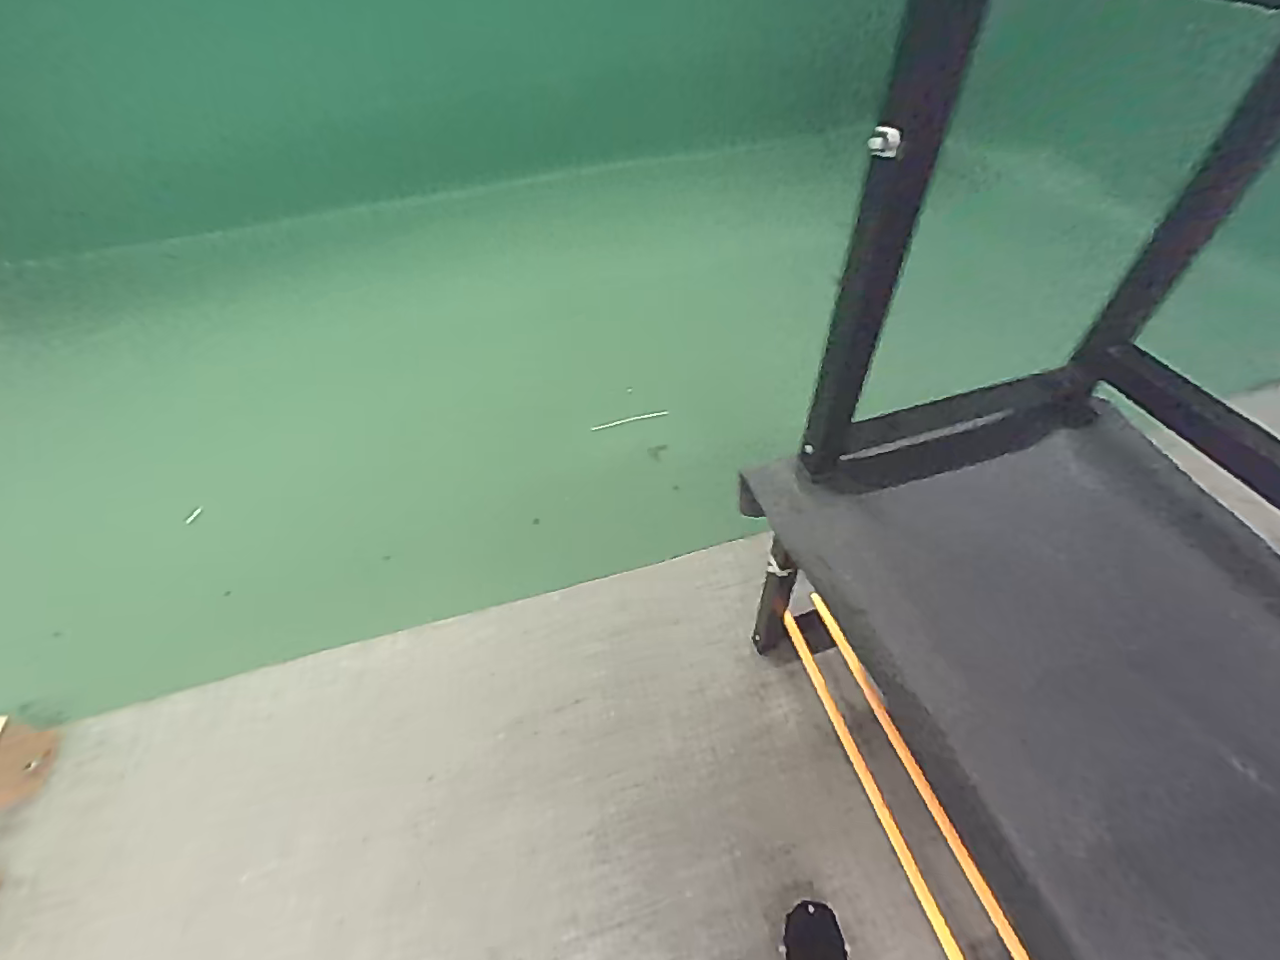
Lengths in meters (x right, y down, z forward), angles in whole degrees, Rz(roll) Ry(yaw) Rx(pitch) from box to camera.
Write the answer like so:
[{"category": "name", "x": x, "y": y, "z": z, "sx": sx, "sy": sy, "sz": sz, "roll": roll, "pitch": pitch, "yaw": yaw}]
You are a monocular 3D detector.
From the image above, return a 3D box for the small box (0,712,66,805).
[{"category": "small box", "x": -1.629, "y": 0.710, "z": 1.351, "sx": 0.179, "sy": 0.176, "sz": 0.168, "roll": -12, "pitch": 50, "yaw": -7}]
